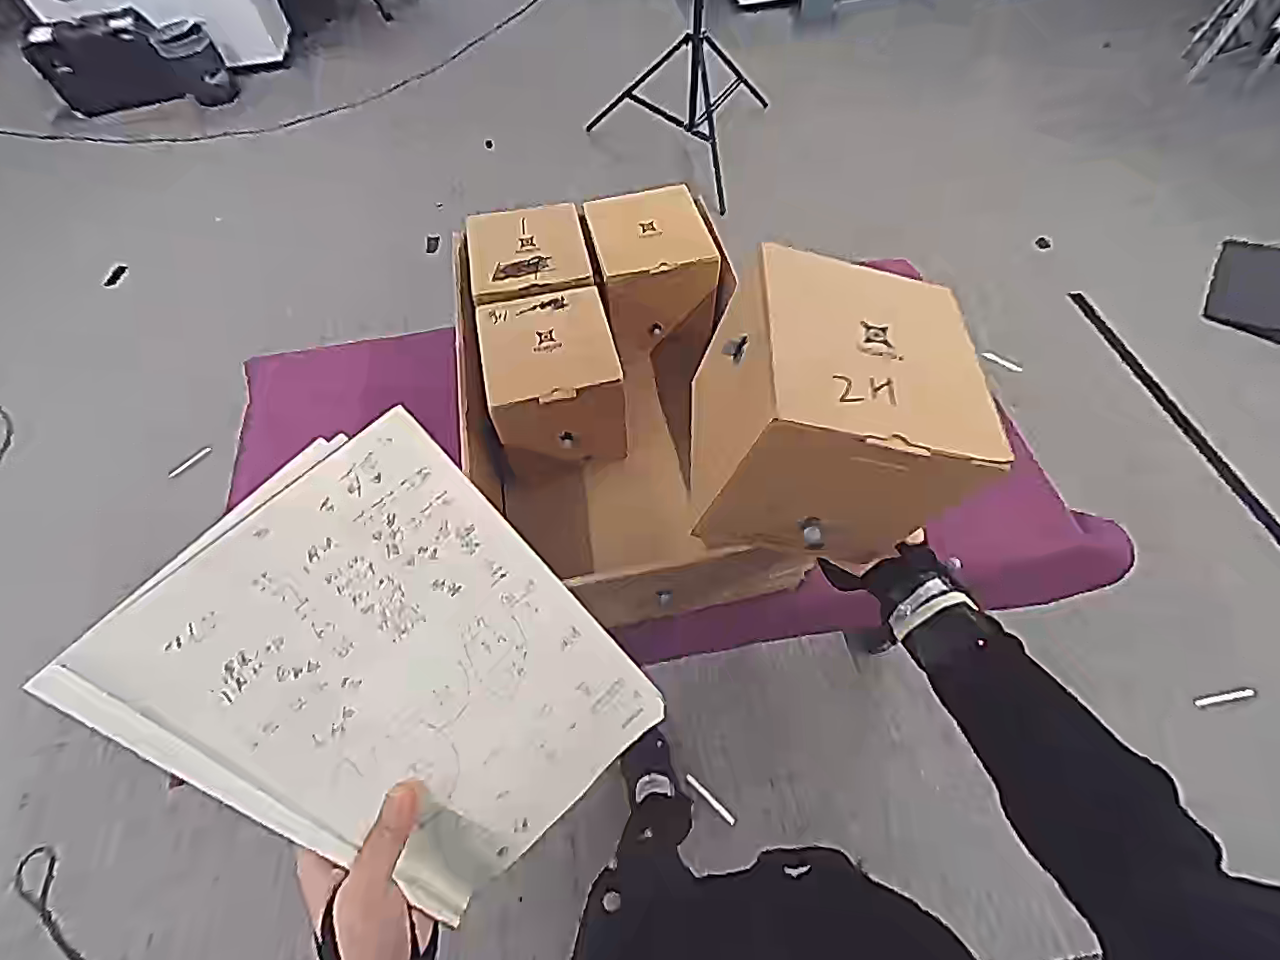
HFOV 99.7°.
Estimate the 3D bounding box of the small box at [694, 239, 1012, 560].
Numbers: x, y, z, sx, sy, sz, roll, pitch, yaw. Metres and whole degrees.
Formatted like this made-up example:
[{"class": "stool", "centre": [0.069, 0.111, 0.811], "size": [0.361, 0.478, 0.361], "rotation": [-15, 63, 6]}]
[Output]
[{"class": "small box", "centre": [0.146, -0.055, 0.442], "size": [0.168, 0.176, 0.179], "rotation": [10, 58, -8]}]
